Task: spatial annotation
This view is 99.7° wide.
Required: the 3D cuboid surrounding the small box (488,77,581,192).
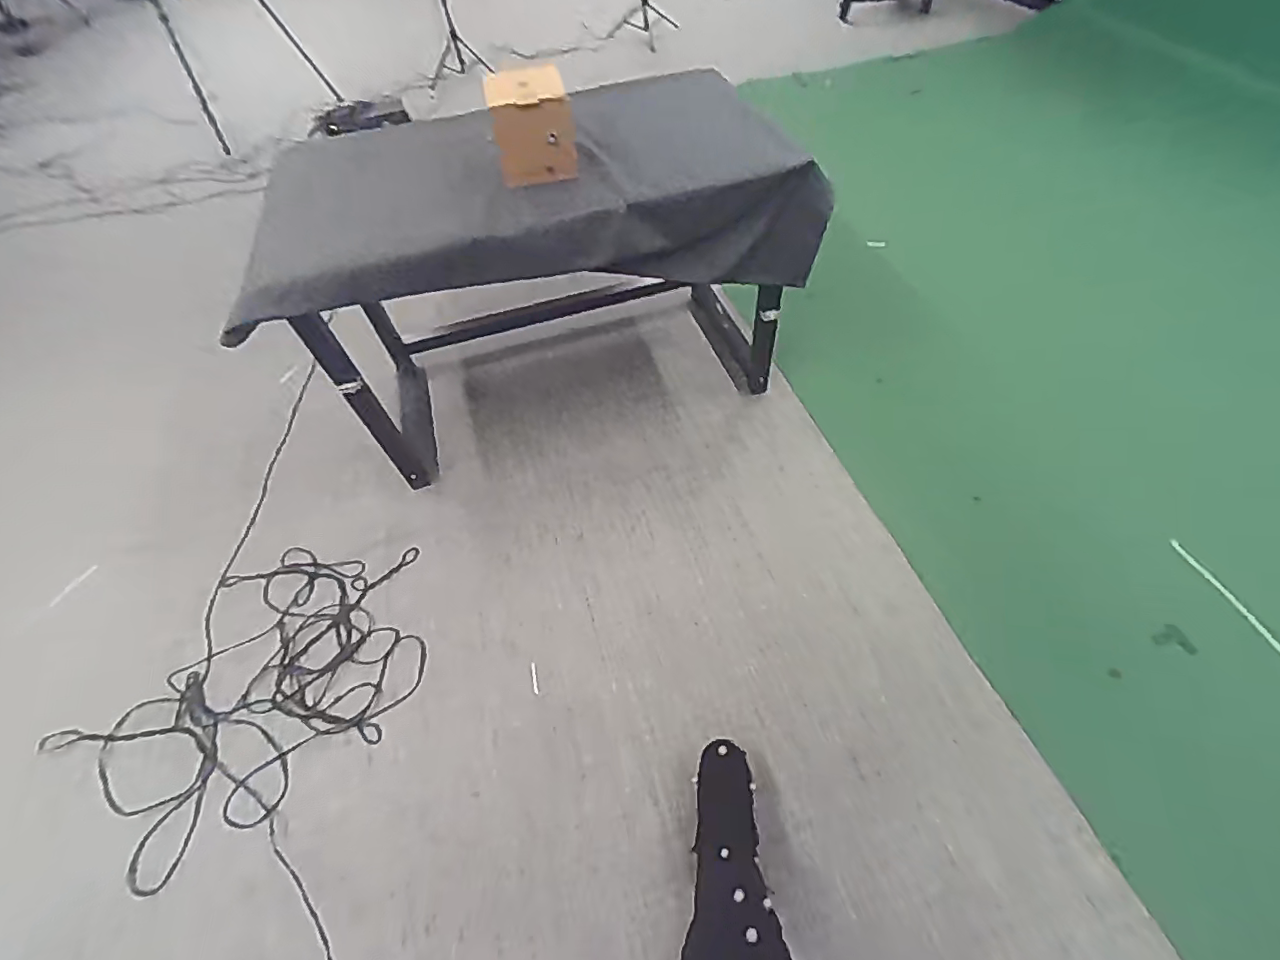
[{"bbox_3d":[-0.234,-0.767,1.212,0.168,0.176,0.179,-12,53,-5],"label":"small box"}]
